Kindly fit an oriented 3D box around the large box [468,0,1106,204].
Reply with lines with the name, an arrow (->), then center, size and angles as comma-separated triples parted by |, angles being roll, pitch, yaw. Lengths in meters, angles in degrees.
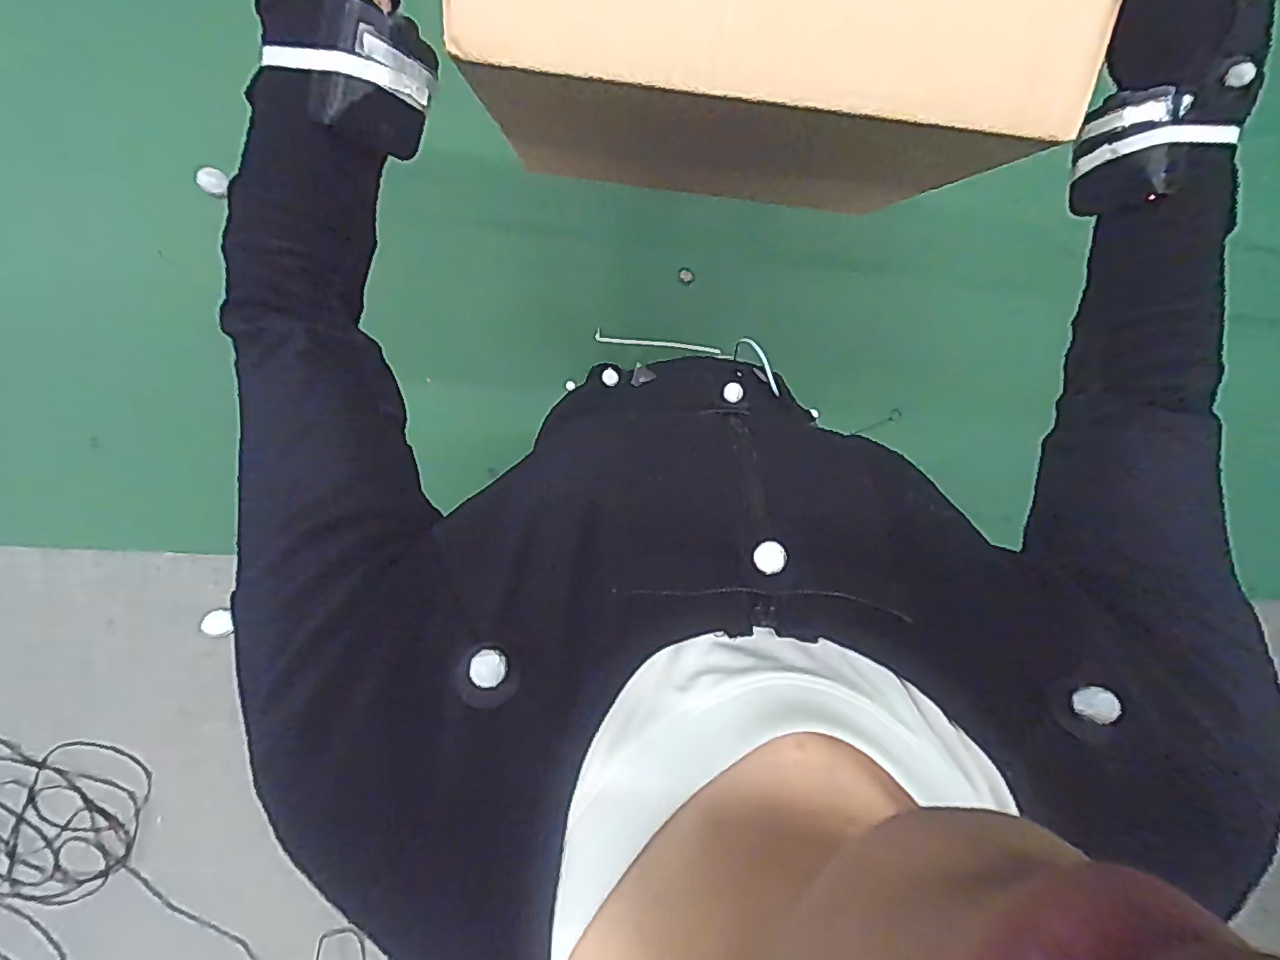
large box -> 0.093, -0.438, 0.441 | 0.408, 0.320, 0.320 | 4, 108, -5
